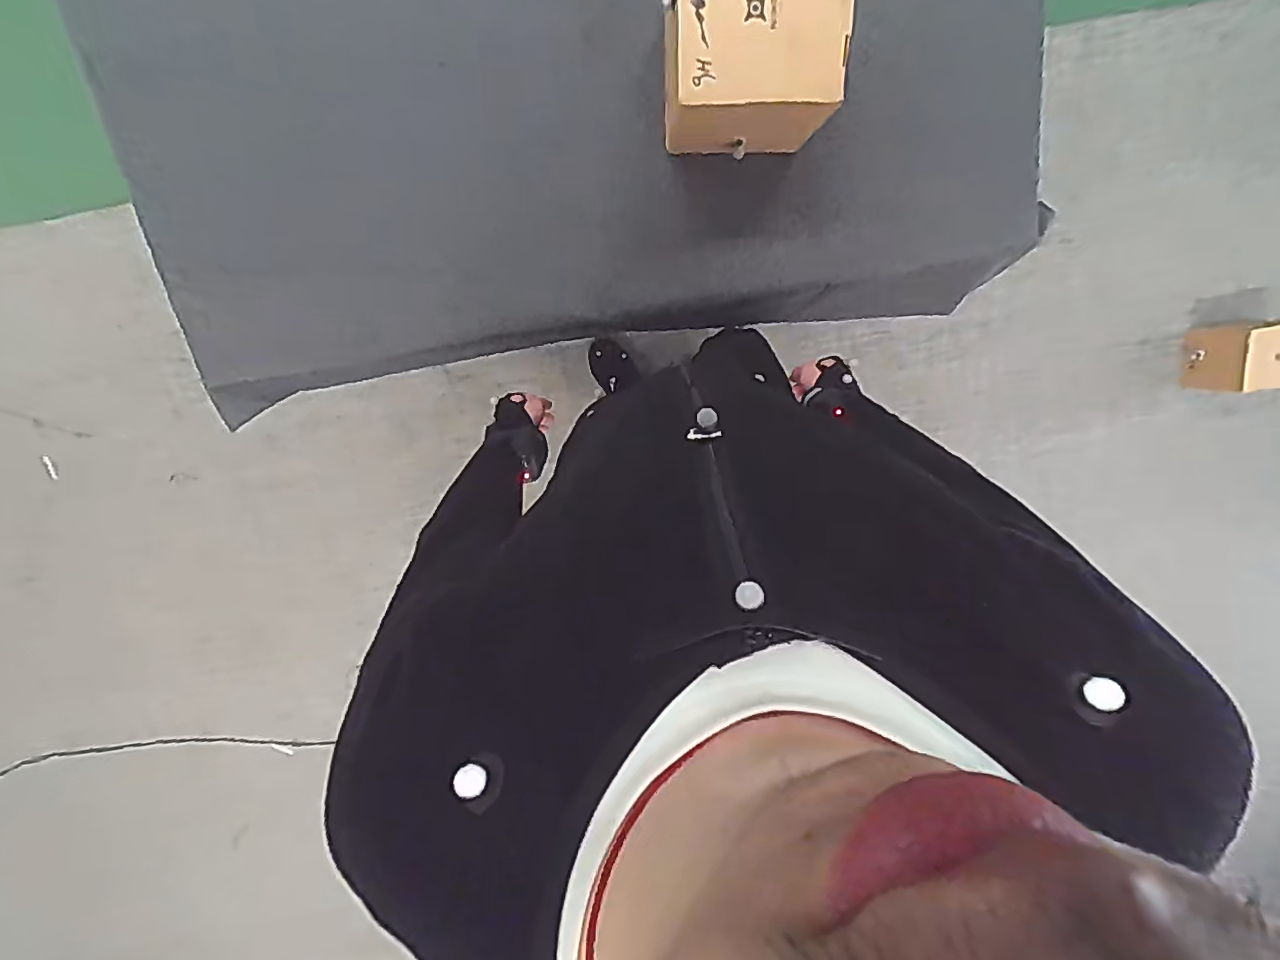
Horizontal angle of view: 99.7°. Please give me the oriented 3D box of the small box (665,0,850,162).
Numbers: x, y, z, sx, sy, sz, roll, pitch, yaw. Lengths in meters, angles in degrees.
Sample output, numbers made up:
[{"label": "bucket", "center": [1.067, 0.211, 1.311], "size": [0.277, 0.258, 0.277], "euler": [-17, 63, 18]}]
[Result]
[{"label": "small box", "center": [0.123, -0.485, 0.628], "size": [0.179, 0.176, 0.168], "euler": [-2, 106, -1]}]

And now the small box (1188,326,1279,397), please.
[{"label": "small box", "center": [1.646, -0.322, 1.448], "size": [0.179, 0.176, 0.168], "euler": [-8, 103, 1]}]
